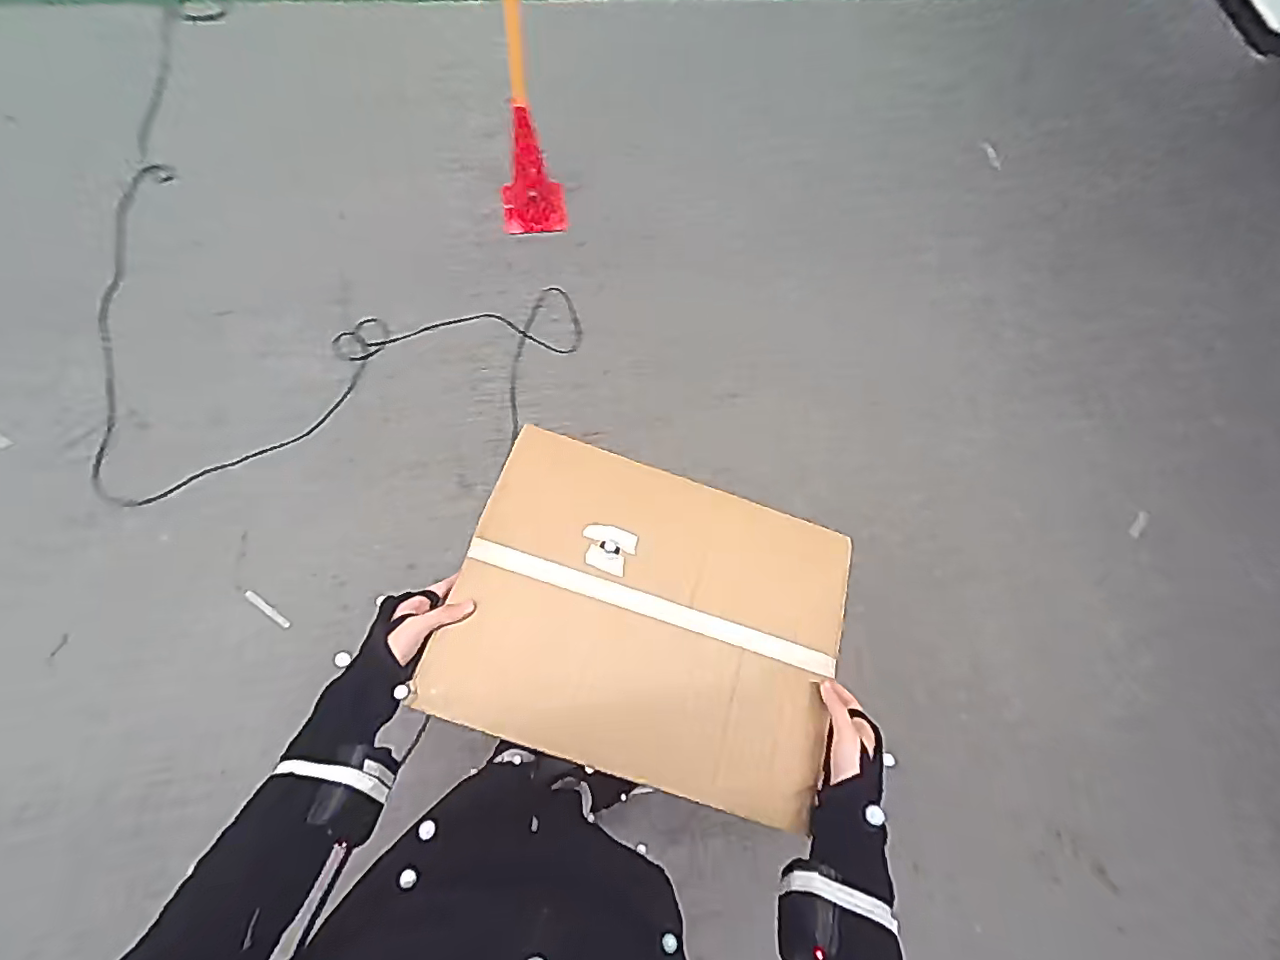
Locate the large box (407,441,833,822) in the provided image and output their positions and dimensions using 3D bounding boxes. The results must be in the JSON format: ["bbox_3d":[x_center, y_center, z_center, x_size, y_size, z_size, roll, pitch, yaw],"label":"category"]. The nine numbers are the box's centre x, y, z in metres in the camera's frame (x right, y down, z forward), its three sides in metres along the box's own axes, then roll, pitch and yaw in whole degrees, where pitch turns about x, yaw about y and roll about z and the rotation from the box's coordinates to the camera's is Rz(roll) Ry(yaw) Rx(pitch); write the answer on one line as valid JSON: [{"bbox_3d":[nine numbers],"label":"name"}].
[{"bbox_3d":[-0.016,0.199,0.715,0.408,0.320,0.320,18,66,-2],"label":"large box"}]
